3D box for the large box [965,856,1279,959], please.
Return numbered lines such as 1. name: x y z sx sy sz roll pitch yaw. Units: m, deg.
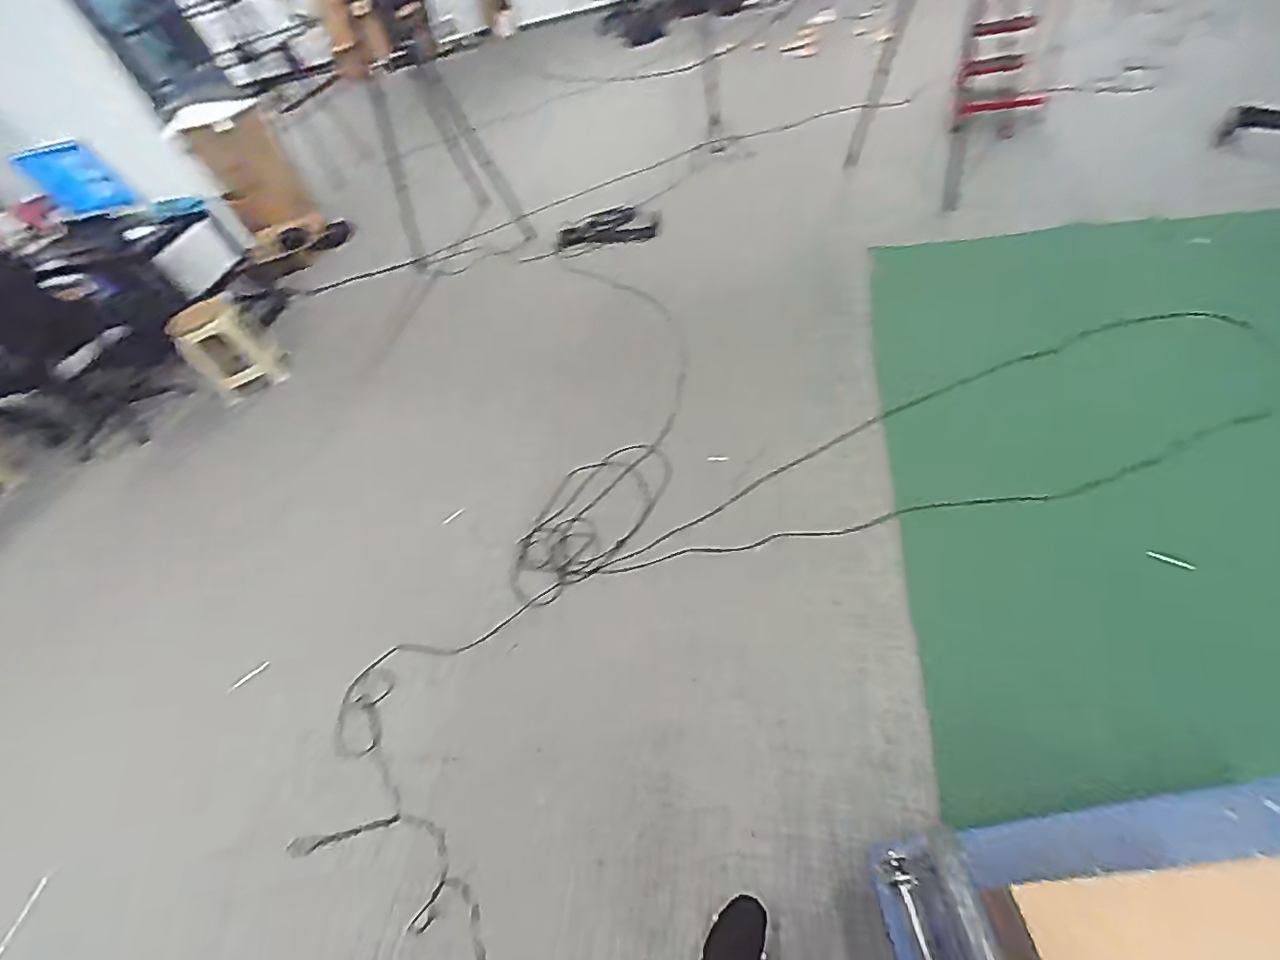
1. large box: 0.795 0.790 0.812 0.408 0.320 0.320 -11 50 6
